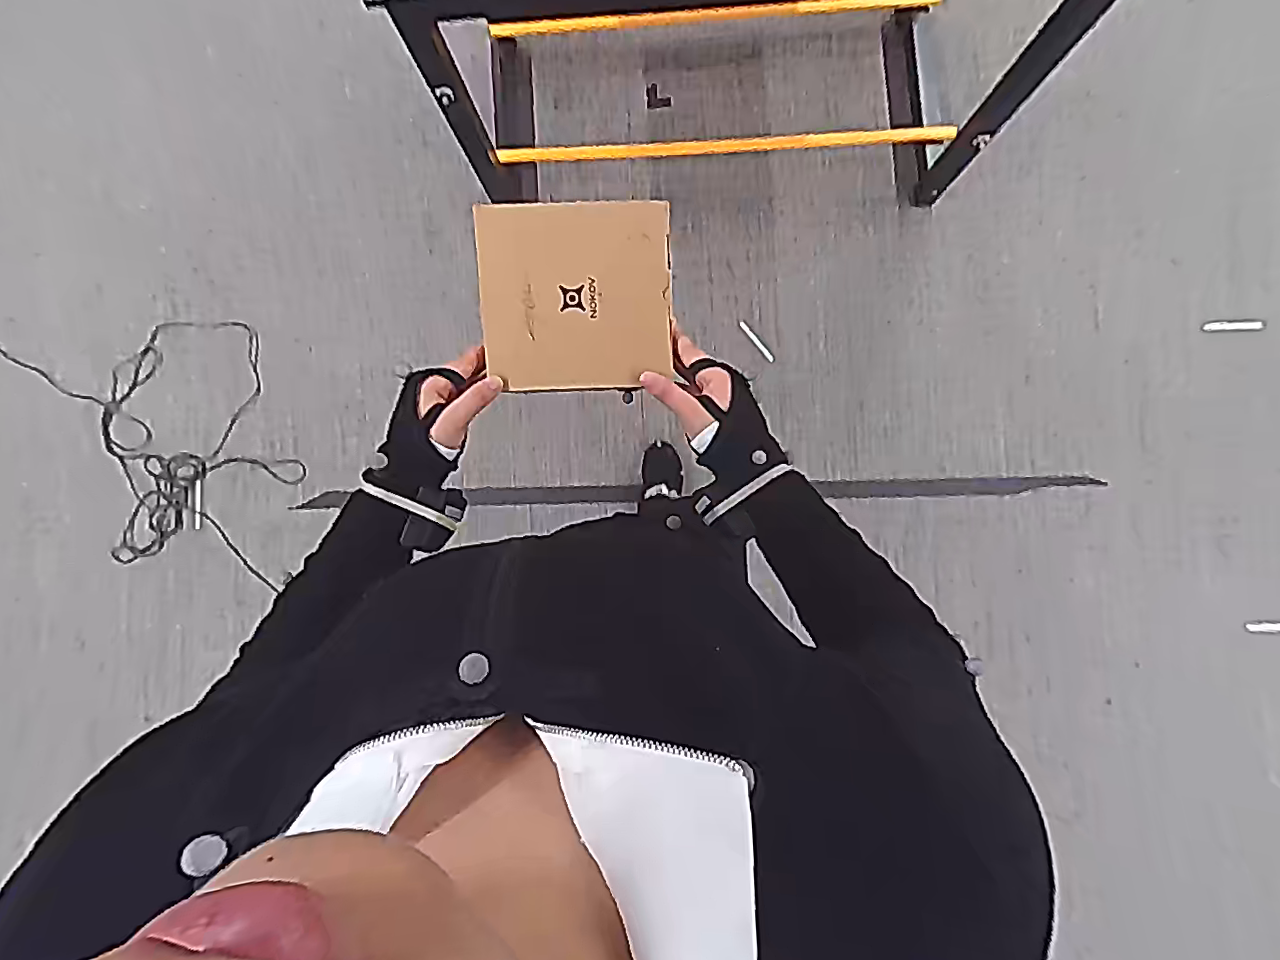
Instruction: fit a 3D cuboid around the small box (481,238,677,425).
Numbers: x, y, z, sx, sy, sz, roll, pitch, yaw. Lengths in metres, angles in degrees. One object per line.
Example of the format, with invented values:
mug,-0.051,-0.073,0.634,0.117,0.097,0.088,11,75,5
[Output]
small box,-0.058,-0.149,0.583,0.179,0.176,0.168,-3,97,-1
